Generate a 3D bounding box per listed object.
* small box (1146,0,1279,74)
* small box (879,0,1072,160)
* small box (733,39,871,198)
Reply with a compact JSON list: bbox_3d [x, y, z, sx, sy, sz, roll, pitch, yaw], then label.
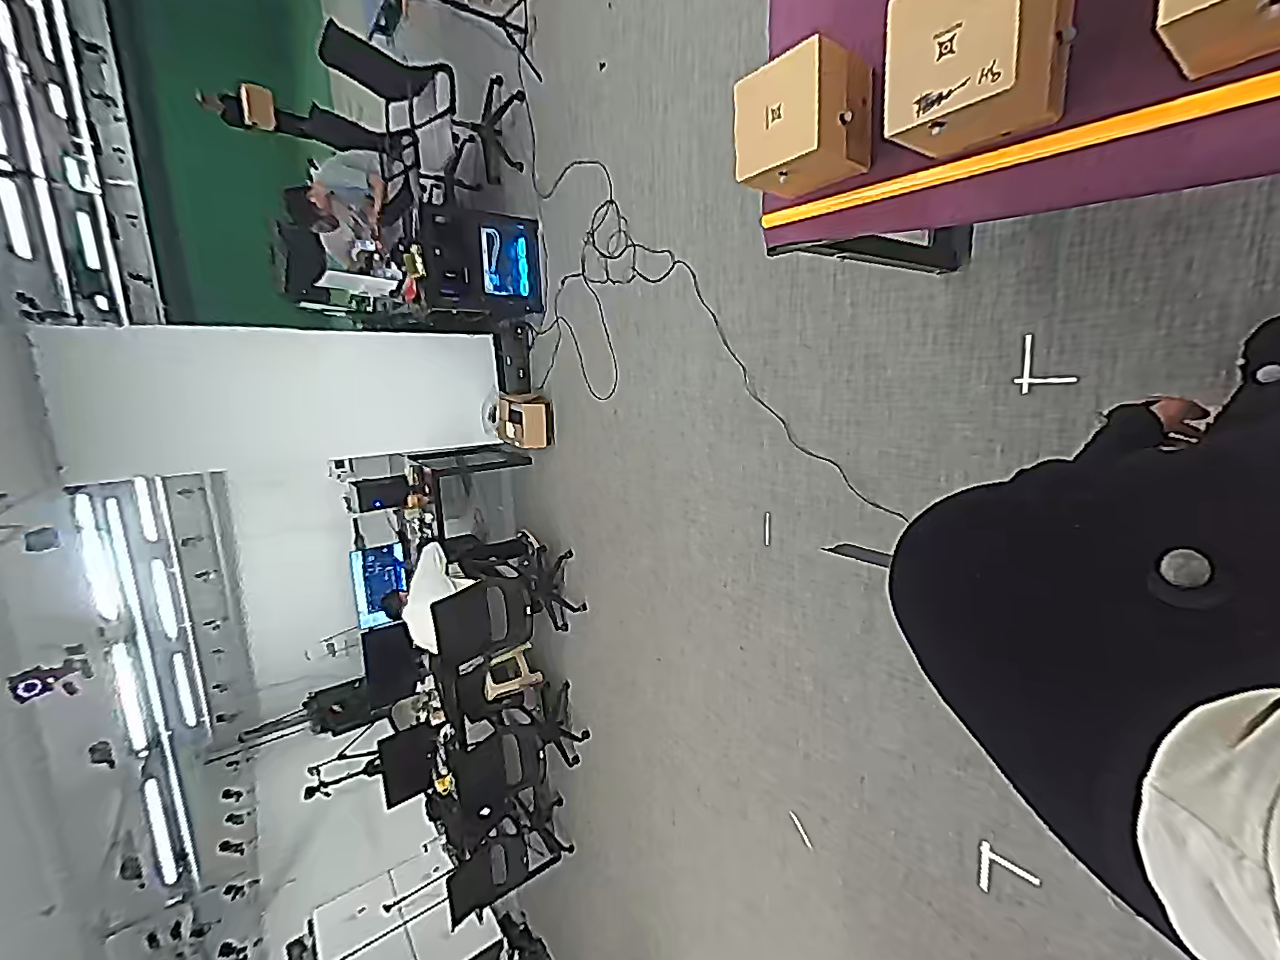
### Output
[{"bbox_3d":[0.621,-0.525,0.504,0.179,0.176,0.168,12,106,54],"label":"small box"},{"bbox_3d":[0.452,-0.567,0.733,0.168,0.176,0.179,14,109,54],"label":"small box"},{"bbox_3d":[0.286,-0.619,0.954,0.179,0.176,0.168,10,106,52],"label":"small box"}]
